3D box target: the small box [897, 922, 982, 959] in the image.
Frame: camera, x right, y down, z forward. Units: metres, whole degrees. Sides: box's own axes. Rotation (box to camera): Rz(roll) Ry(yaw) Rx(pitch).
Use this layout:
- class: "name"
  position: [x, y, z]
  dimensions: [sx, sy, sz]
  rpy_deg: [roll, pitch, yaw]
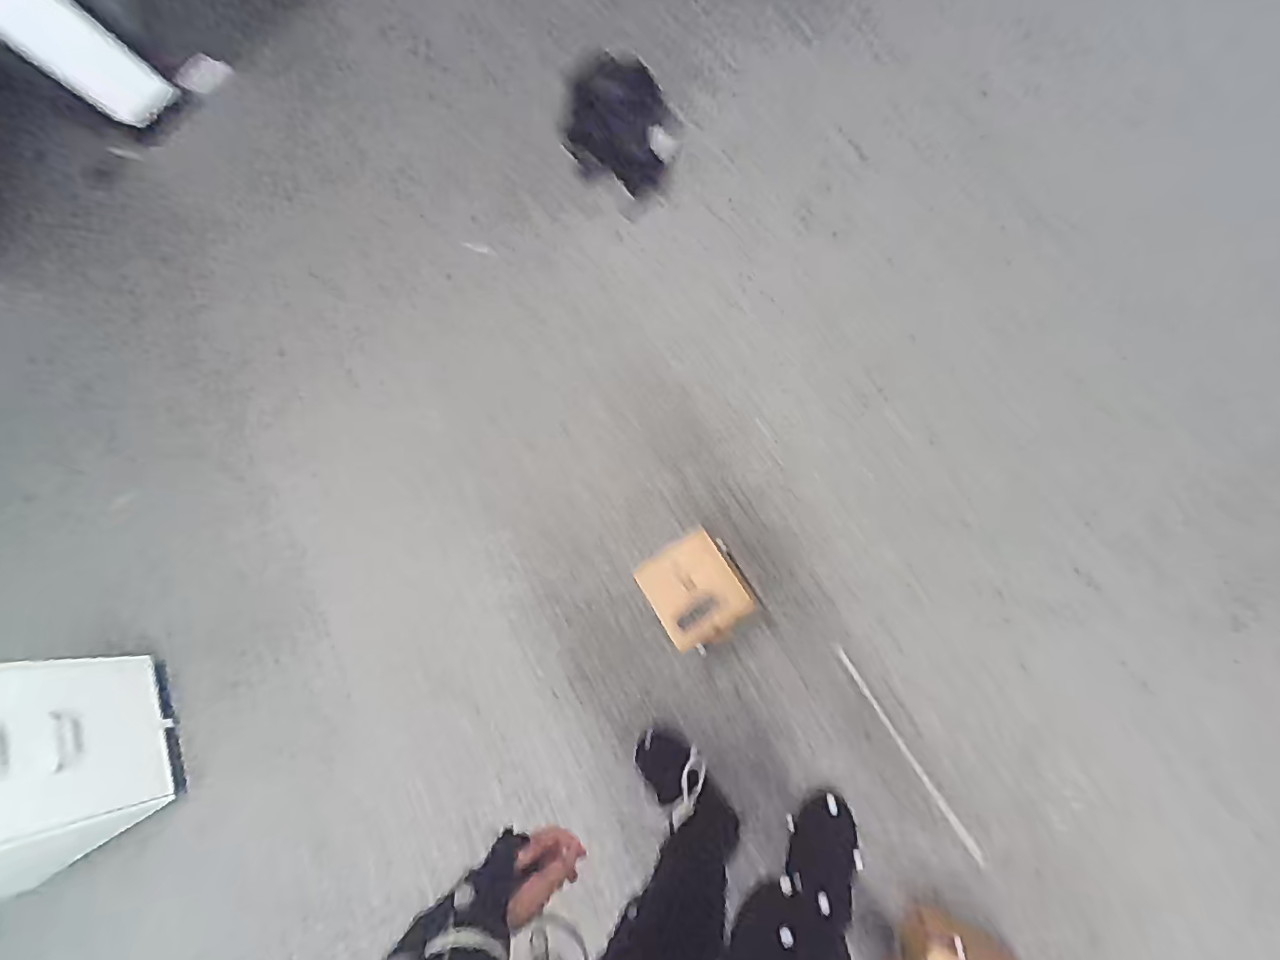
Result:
- class: "small box"
  position: [0.486, 0.826, 0.809]
  dimensions: [0.179, 0.176, 0.168]
  rpy_deg: [24, 84, 22]
